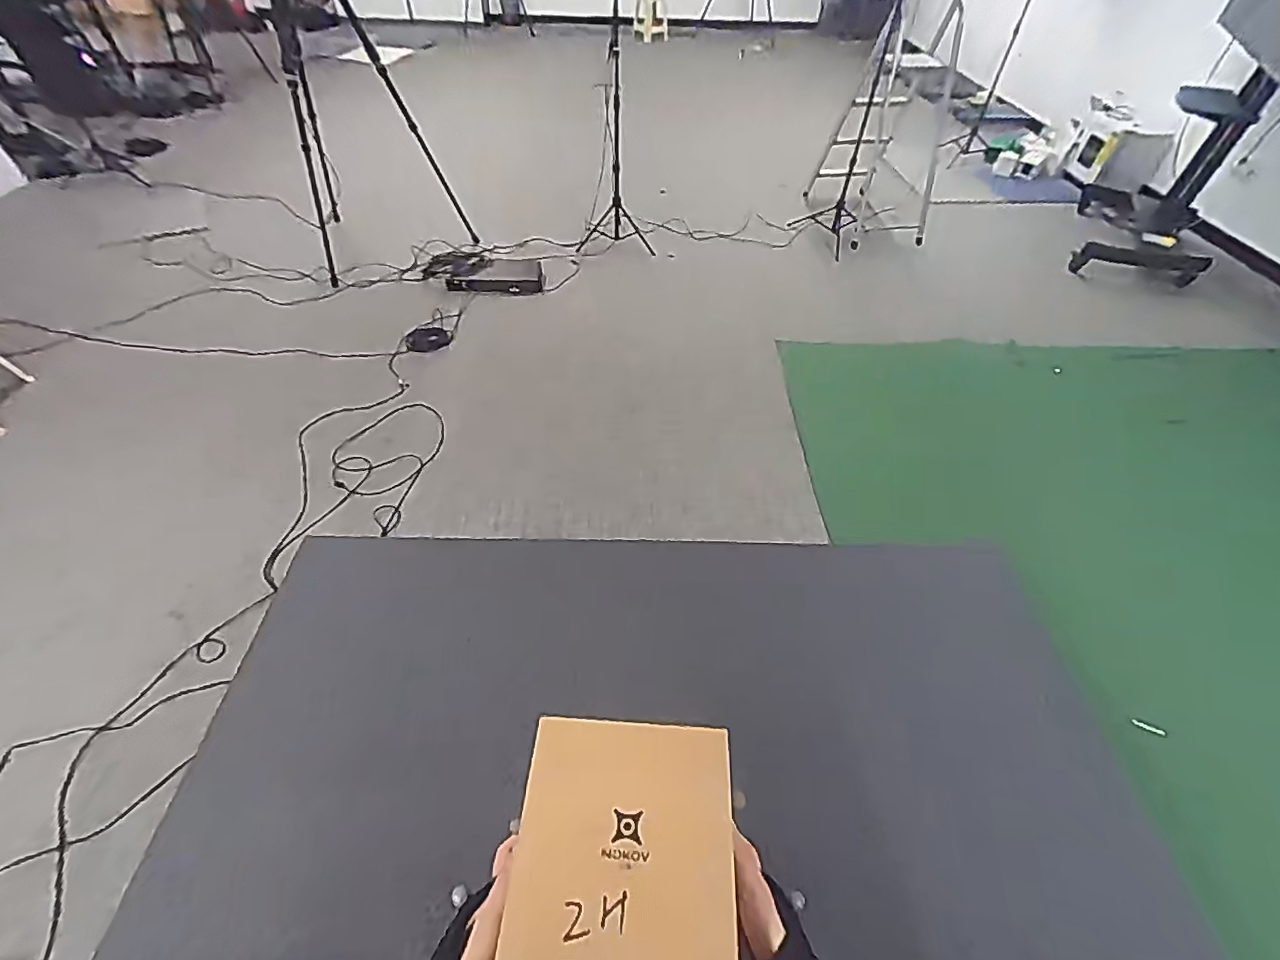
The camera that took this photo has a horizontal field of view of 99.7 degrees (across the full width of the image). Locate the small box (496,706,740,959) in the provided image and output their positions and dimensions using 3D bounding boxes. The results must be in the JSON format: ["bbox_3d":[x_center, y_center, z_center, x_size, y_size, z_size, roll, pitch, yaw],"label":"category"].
[{"bbox_3d":[-0.011,0.321,0.468,0.168,0.176,0.179,3,46,2],"label":"small box"}]
